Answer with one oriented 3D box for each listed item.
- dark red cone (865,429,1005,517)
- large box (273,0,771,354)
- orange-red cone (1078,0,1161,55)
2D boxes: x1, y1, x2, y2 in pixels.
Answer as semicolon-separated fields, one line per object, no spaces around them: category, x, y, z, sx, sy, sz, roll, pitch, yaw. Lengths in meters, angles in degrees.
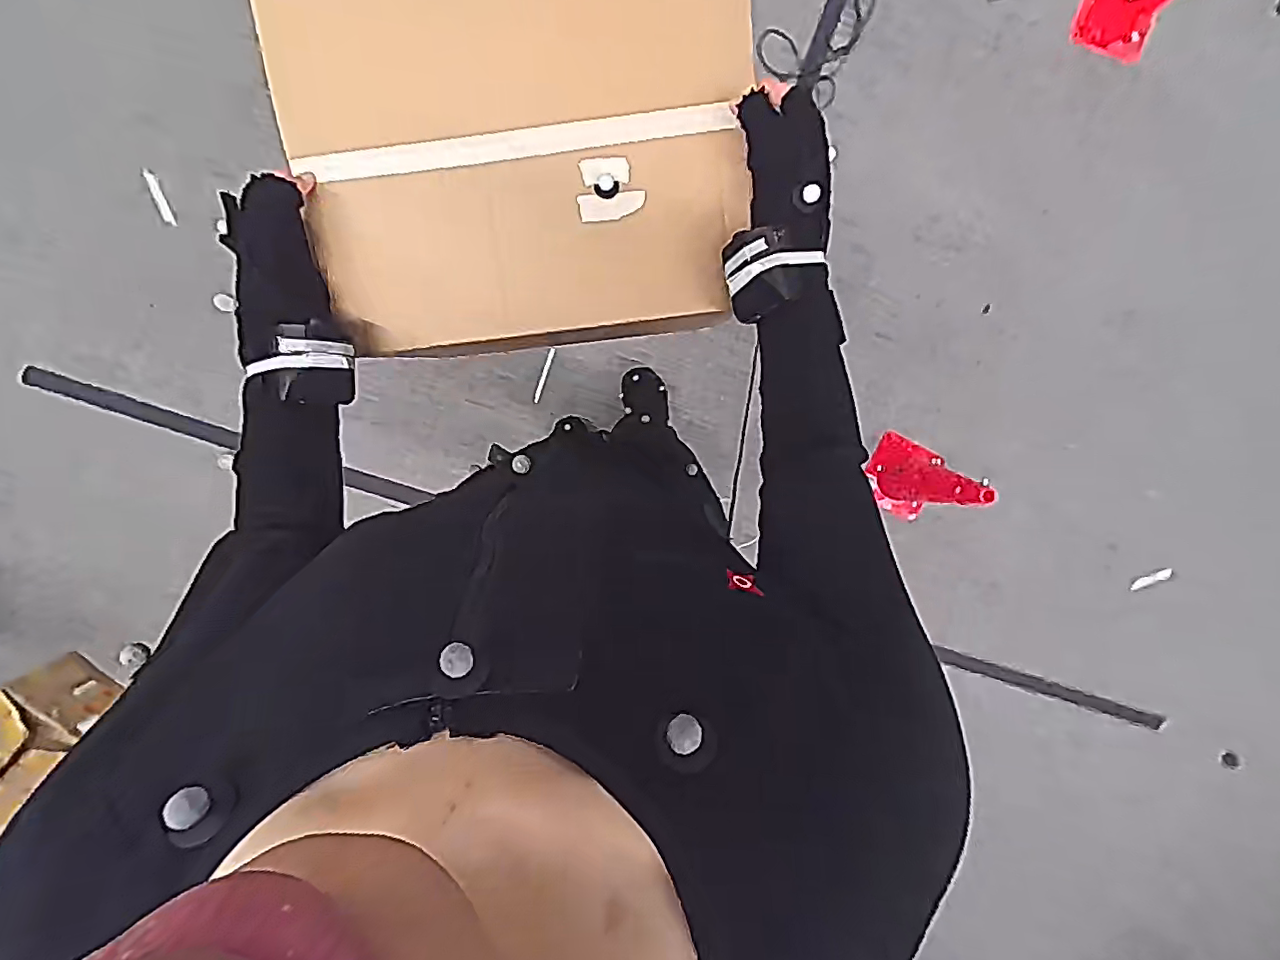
dark red cone;0.743;0.006;1.321;0.201;0.394;0.202;25;96;-5
large box;-0.097;-0.326;0.616;0.408;0.320;0.320;-6;103;0
orange-red cone;1.238;-1.191;1.206;0.198;0.360;0.199;16;95;-6
